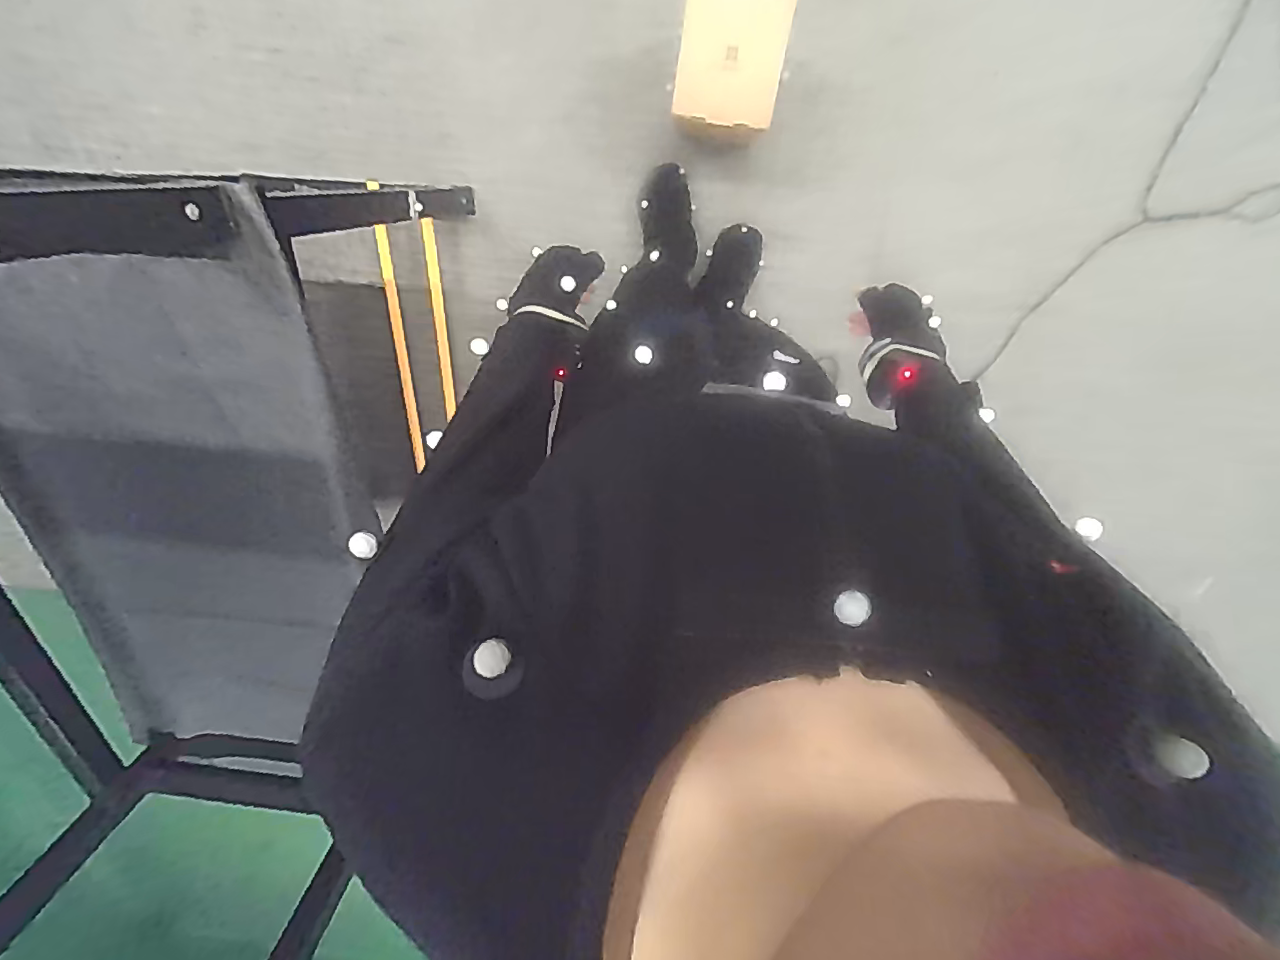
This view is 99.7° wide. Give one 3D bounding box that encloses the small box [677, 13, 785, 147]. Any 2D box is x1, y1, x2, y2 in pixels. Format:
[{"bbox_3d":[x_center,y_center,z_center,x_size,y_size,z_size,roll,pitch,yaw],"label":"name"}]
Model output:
[{"bbox_3d":[0.171,-0.775,1.065,0.168,0.176,0.179,11,120,1],"label":"small box"}]
